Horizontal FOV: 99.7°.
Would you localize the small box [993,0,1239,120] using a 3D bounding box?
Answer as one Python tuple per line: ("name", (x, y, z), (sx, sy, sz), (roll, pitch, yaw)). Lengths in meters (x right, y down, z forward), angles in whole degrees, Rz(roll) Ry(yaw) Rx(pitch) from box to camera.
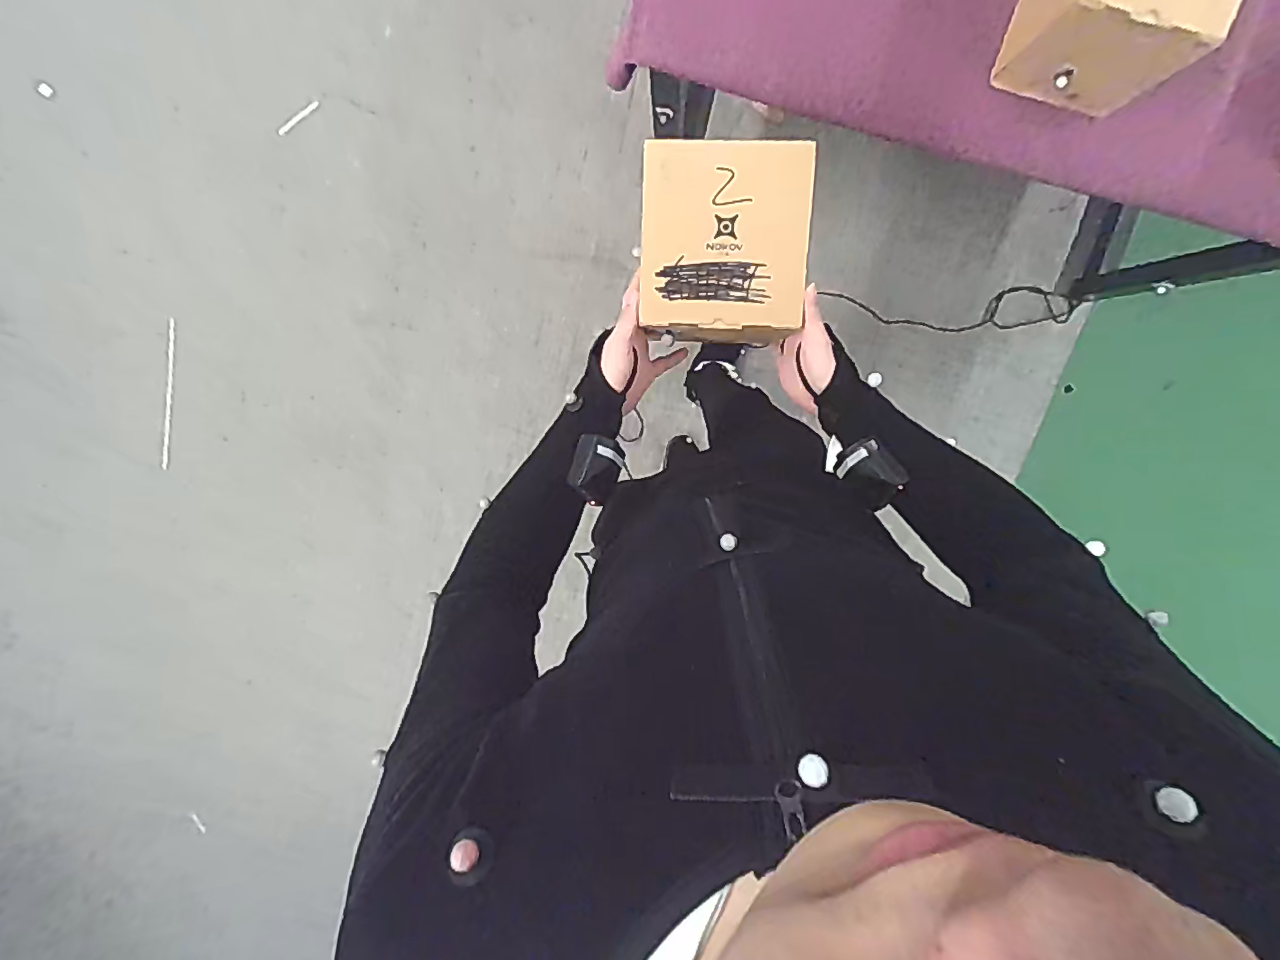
("small box", (0.571, -0.580, 0.647), (0.168, 0.176, 0.179), (16, 102, -1))
